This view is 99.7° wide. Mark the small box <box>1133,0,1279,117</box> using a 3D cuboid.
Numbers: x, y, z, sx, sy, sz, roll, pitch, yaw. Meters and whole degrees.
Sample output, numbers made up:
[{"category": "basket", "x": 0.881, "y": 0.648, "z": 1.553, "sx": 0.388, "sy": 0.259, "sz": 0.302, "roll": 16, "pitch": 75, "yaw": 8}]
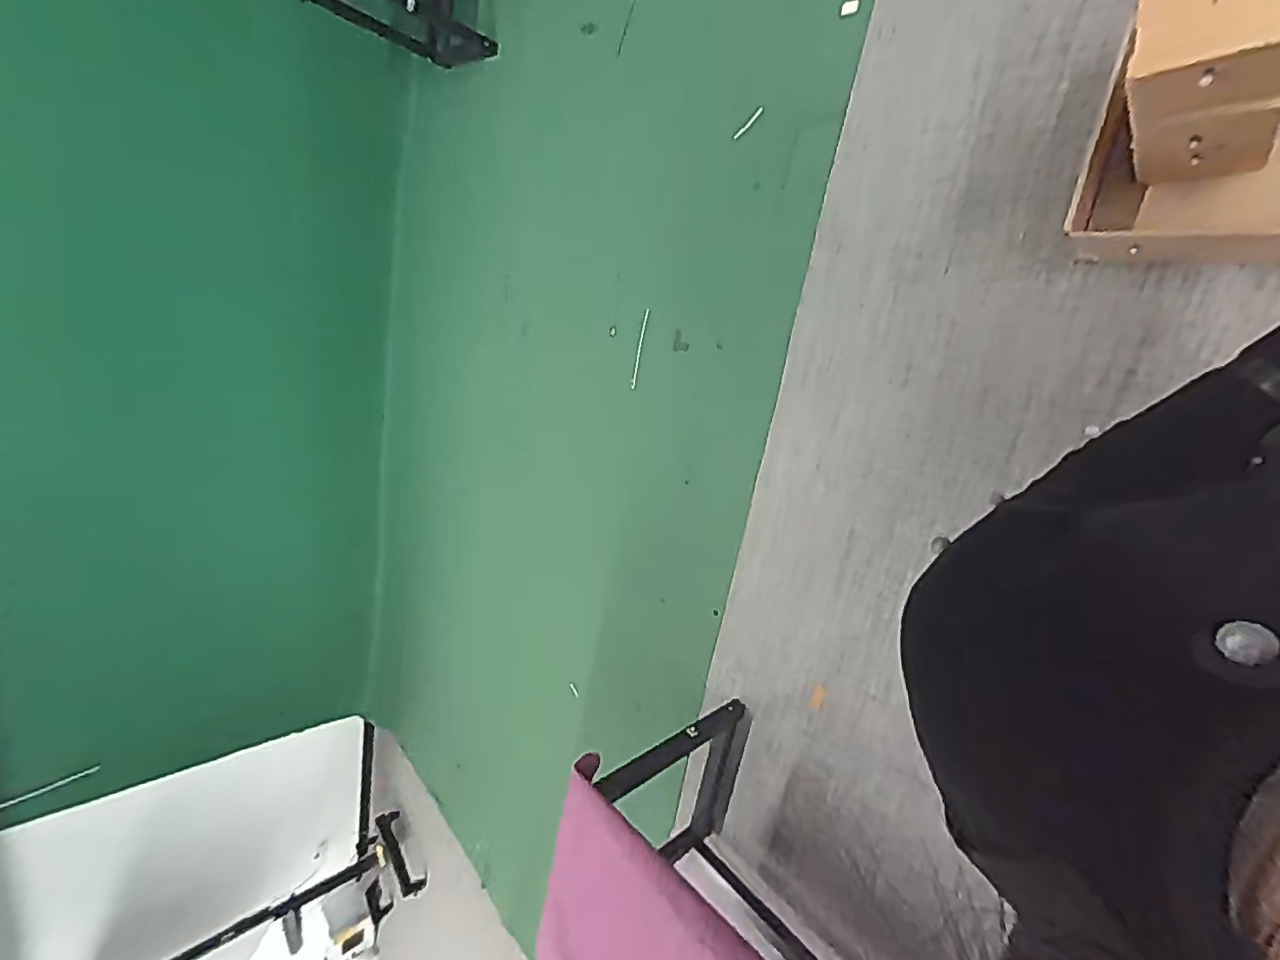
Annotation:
[{"category": "small box", "x": 0.785, "y": -0.616, "z": 0.708, "sx": 0.179, "sy": 0.176, "sz": 0.168, "roll": 13, "pitch": 105, "yaw": 44}]

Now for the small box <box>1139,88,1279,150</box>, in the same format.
[{"category": "small box", "x": 0.902, "y": -0.625, "z": 0.821, "sx": 0.168, "sy": 0.176, "sz": 0.179, "roll": 22, "pitch": 110, "yaw": 41}]

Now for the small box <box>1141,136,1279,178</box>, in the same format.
[{"category": "small box", "x": 1.012, "y": -0.647, "z": 0.940, "sx": 0.179, "sy": 0.176, "sz": 0.168, "roll": 16, "pitch": 106, "yaw": 42}]
